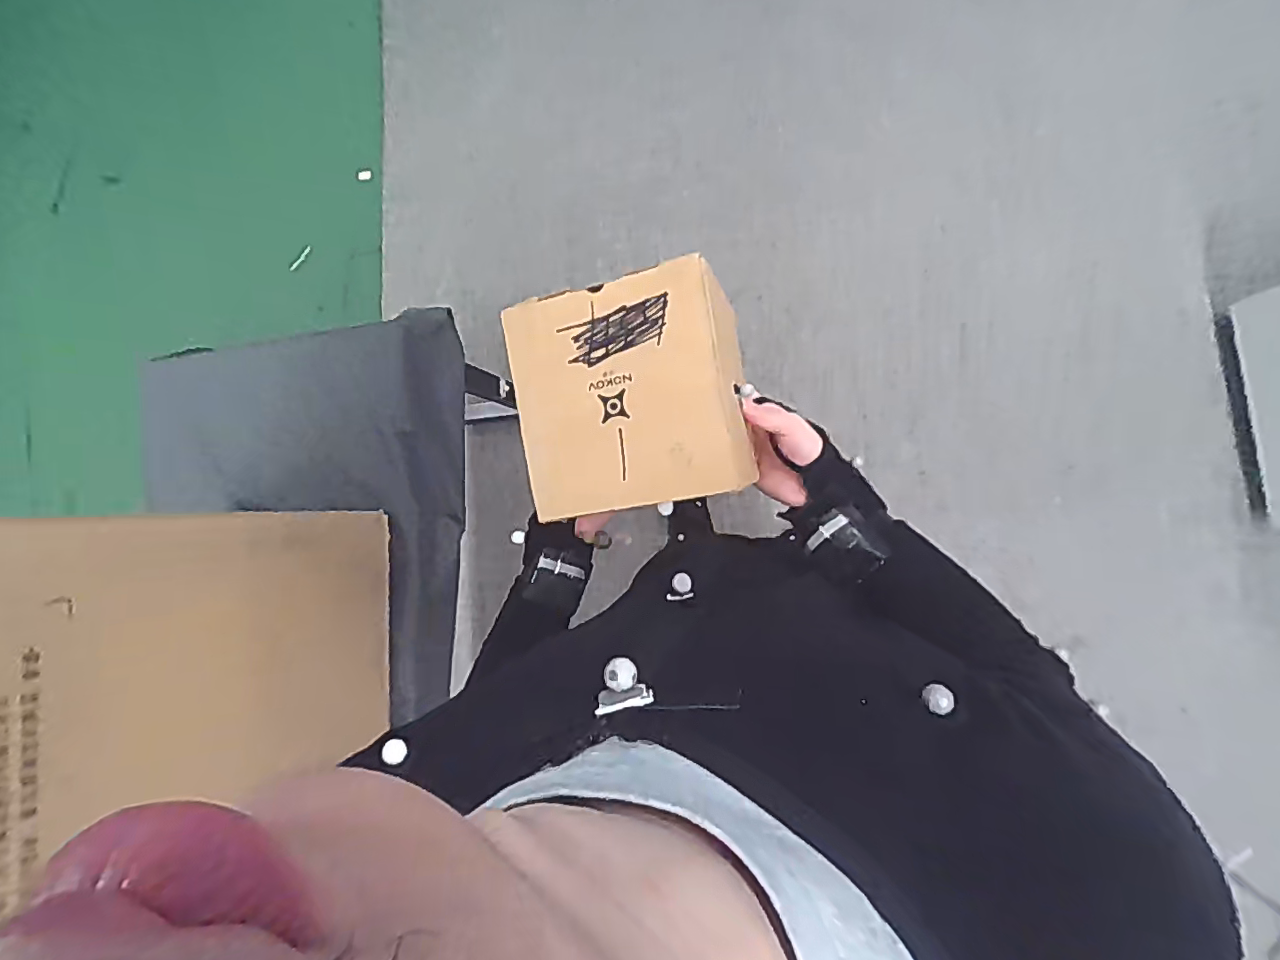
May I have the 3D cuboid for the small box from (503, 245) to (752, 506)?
[{"bbox_3d":[0.002,-0.078,0.487,0.168,0.176,0.179,-9,91,18],"label":"small box"}]
